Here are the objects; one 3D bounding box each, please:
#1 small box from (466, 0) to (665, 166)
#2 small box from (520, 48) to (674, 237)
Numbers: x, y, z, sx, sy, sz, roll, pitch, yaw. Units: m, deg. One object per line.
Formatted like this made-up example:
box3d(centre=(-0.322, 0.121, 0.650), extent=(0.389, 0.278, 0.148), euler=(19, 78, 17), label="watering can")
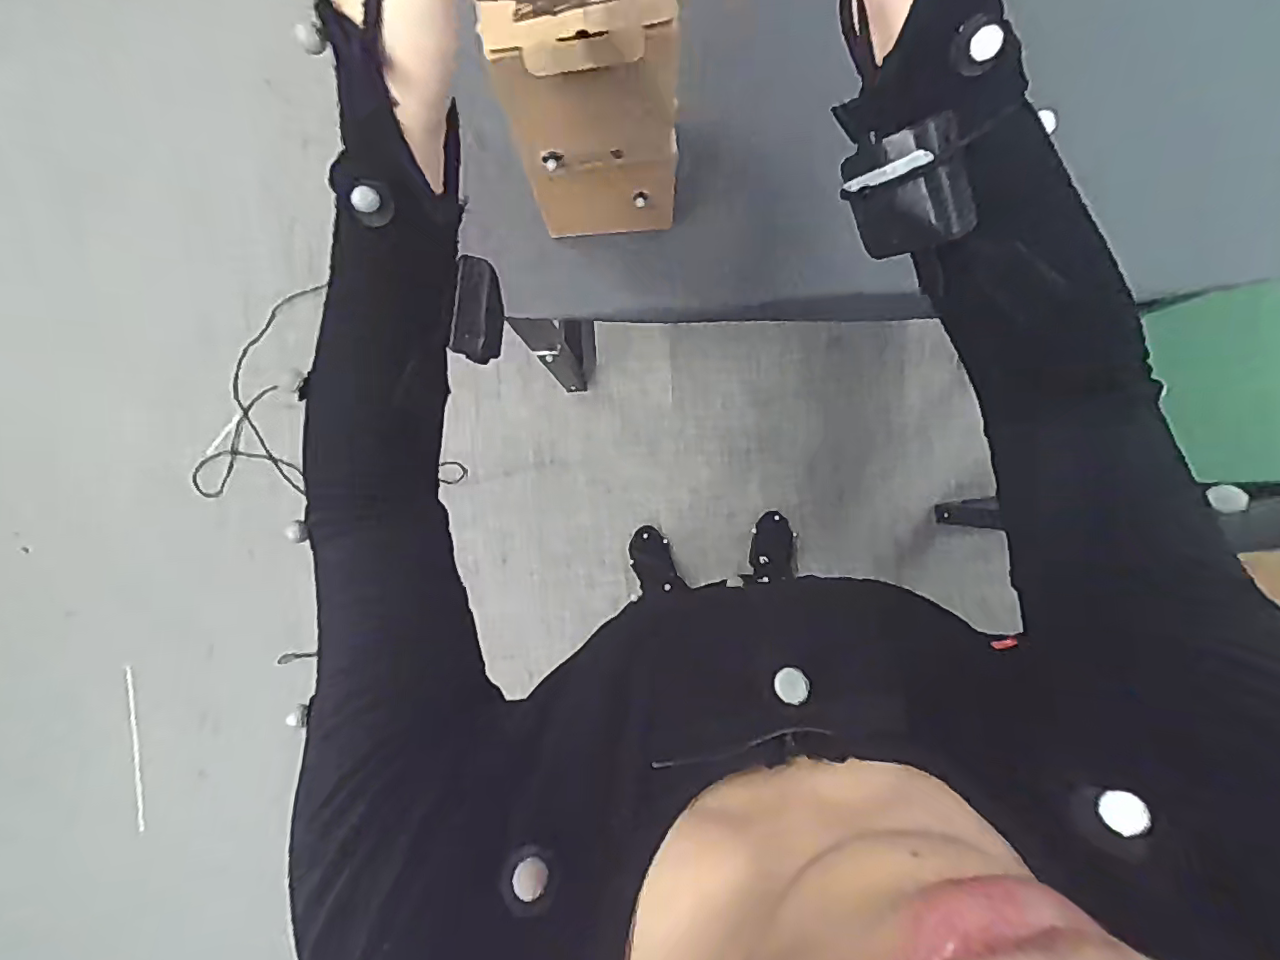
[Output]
box3d(centre=(-0.067, -0.440, 0.530), extent=(0.168, 0.176, 0.179), euler=(-9, 86, 1), label="small box")
box3d(centre=(-0.053, -0.436, 0.695), extent=(0.179, 0.176, 0.168), euler=(-5, 87, 2), label="small box")
